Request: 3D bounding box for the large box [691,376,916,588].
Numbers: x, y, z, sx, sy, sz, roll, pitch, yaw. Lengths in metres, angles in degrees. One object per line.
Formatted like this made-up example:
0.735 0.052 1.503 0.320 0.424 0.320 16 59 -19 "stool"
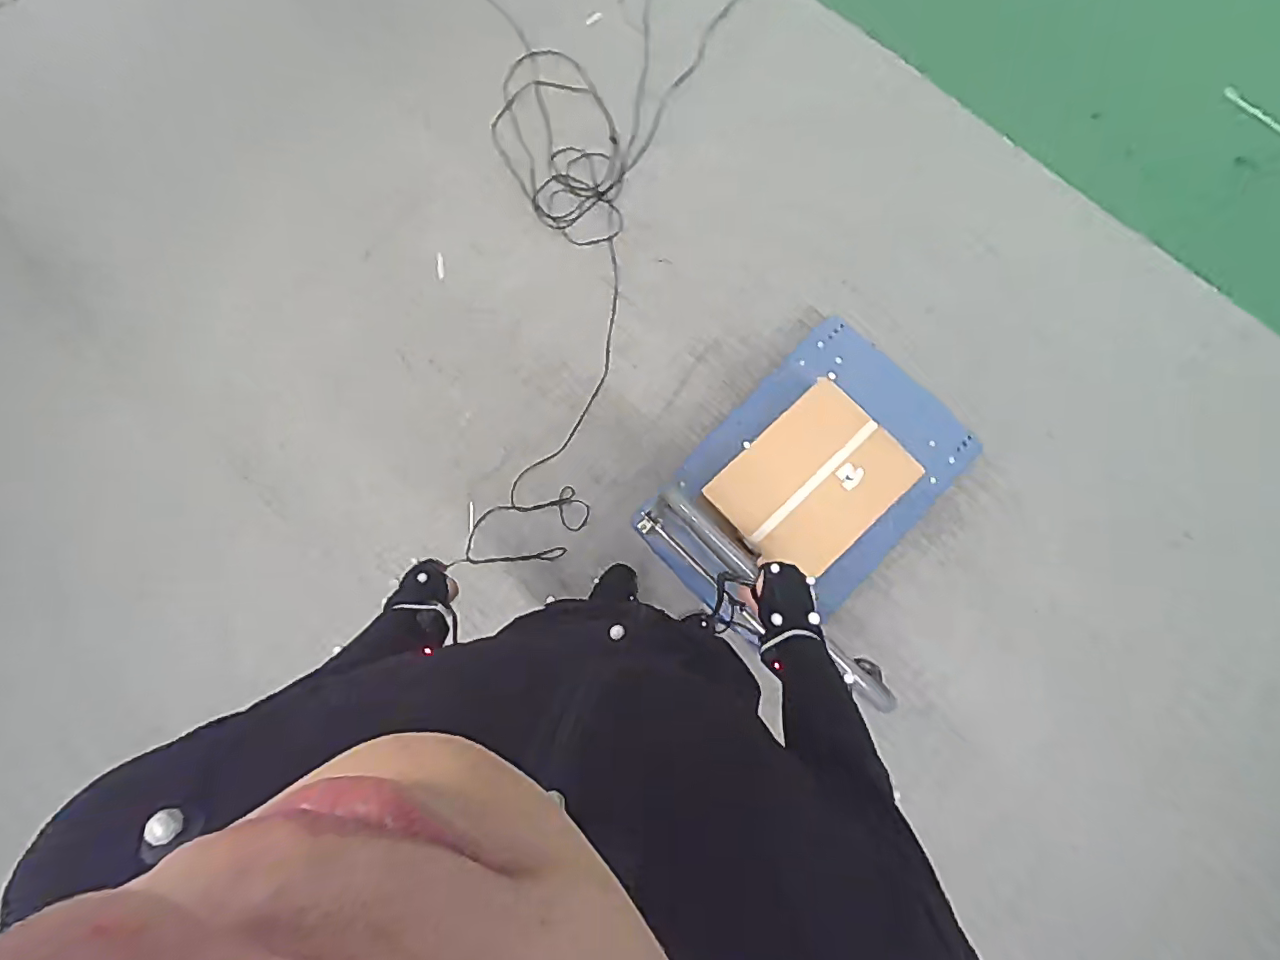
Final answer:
0.380 0.025 1.363 0.408 0.320 0.320 -43 83 -7 "large box"
